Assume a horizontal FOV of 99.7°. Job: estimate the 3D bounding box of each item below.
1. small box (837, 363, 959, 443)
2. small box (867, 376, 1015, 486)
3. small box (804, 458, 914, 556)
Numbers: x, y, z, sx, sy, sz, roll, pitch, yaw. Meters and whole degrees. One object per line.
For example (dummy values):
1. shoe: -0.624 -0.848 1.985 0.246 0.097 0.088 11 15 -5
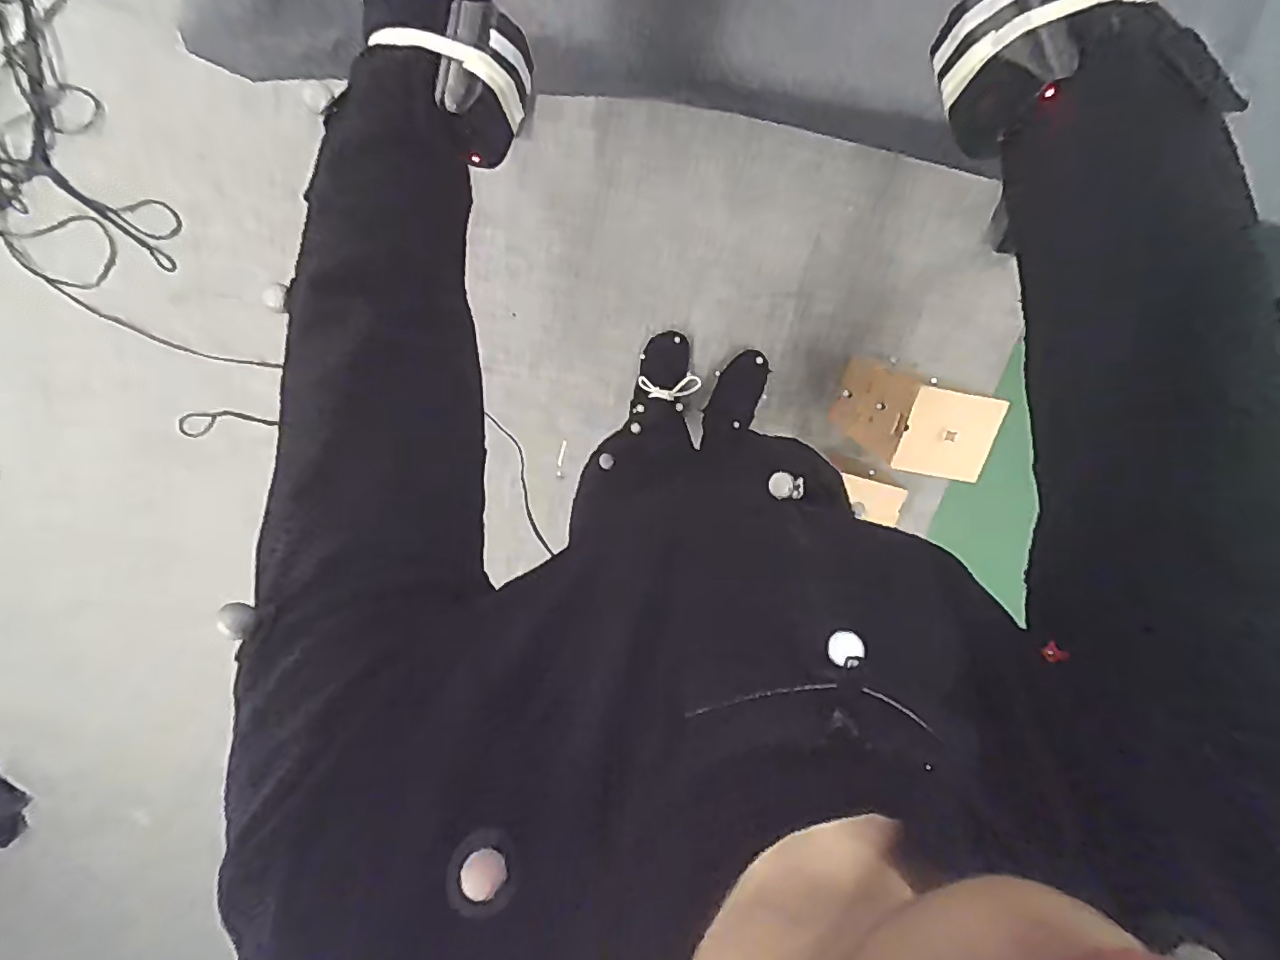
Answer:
1. small box: 0.574 -0.167 1.233 0.179 0.176 0.168 11 109 -2
2. small box: 0.586 -0.104 1.080 0.179 0.176 0.168 10 111 -1
3. small box: 0.524 0.060 1.320 0.179 0.176 0.168 14 109 -1
